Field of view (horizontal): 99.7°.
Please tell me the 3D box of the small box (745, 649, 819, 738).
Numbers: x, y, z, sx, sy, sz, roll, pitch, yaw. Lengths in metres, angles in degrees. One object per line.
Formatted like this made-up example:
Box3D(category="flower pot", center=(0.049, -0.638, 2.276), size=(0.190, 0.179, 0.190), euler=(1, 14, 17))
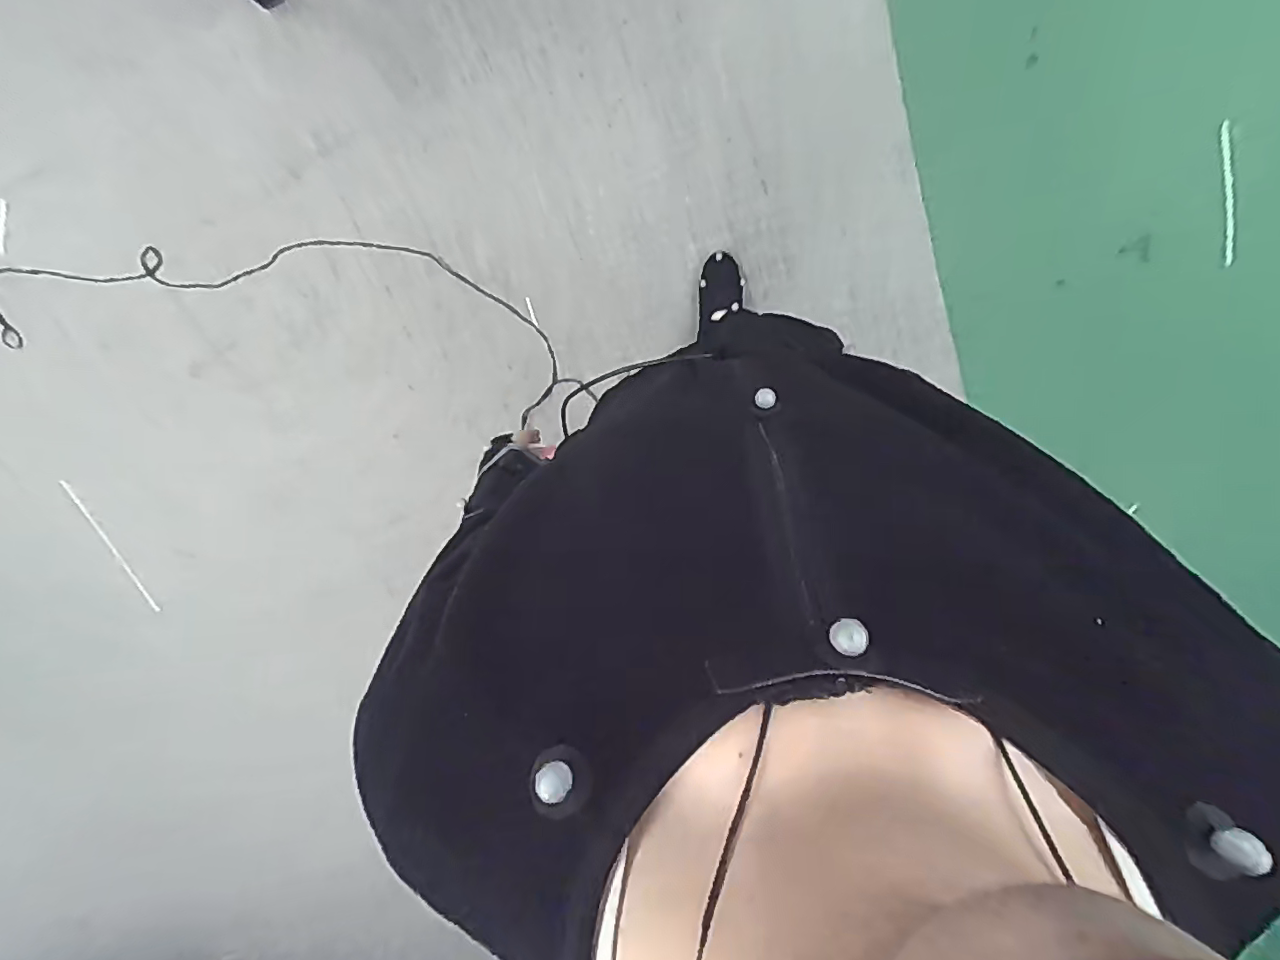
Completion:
Box3D(category="small box", center=(0.414, 0.622, 1.599), size=(0.168, 0.176, 0.179), euler=(-13, 106, 7))
